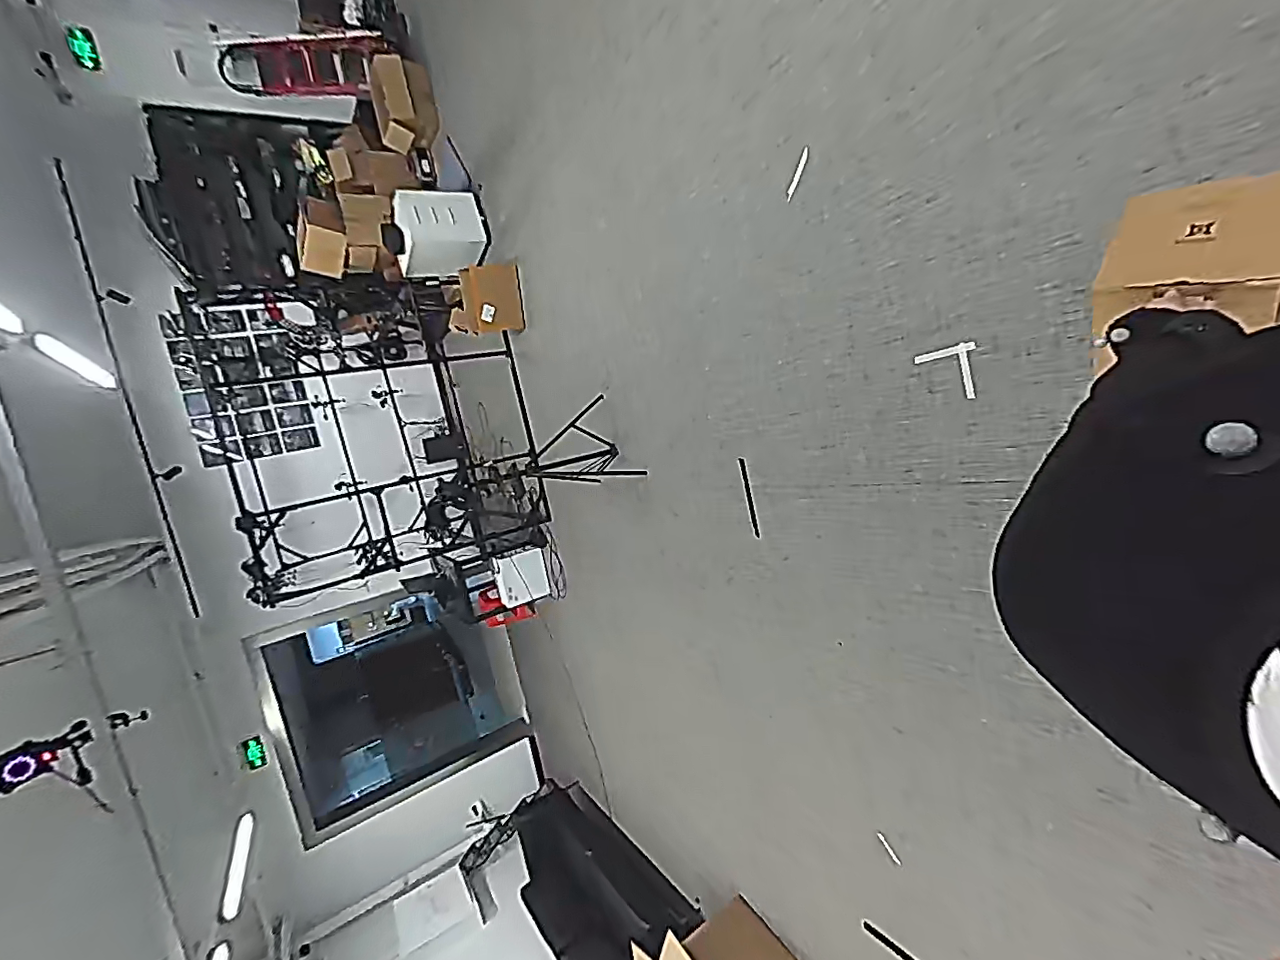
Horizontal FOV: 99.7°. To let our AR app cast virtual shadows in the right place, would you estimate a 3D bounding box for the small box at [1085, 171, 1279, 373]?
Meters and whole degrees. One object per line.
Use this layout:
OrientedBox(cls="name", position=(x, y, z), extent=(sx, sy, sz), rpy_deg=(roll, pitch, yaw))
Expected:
OrientedBox(cls="small box", position=(0.712, -0.258, 0.704), extent=(0.168, 0.179, 0.176), rpy_deg=(17, 160, 46))
